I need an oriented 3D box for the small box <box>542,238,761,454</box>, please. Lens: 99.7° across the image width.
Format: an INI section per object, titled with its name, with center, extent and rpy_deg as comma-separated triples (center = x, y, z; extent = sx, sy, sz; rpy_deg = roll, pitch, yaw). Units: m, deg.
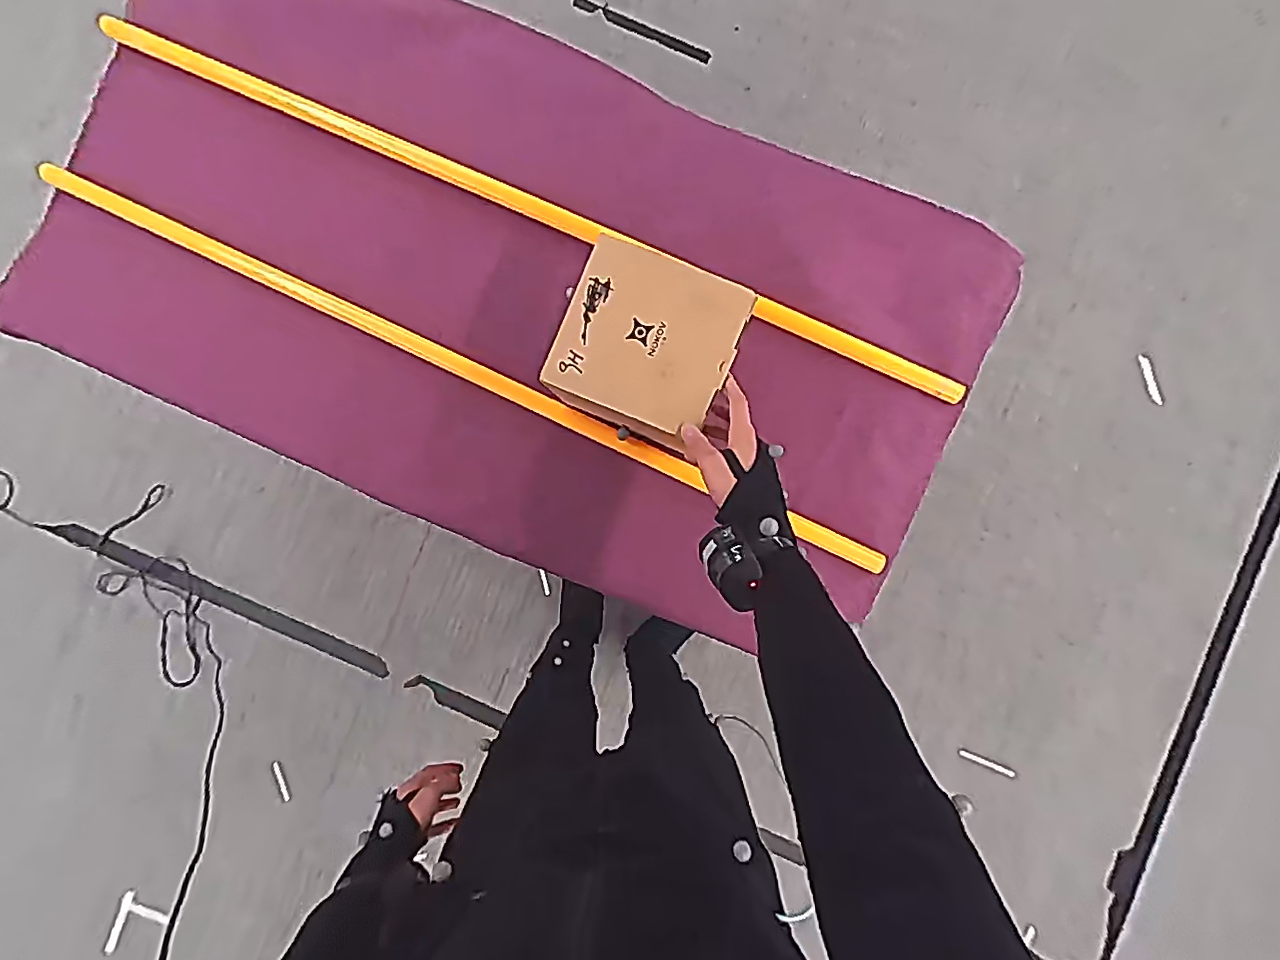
[small box]
center = 0.014, -0.136, 0.621
extent = 0.179, 0.176, 0.168
rpy_deg = 24, 90, 3
